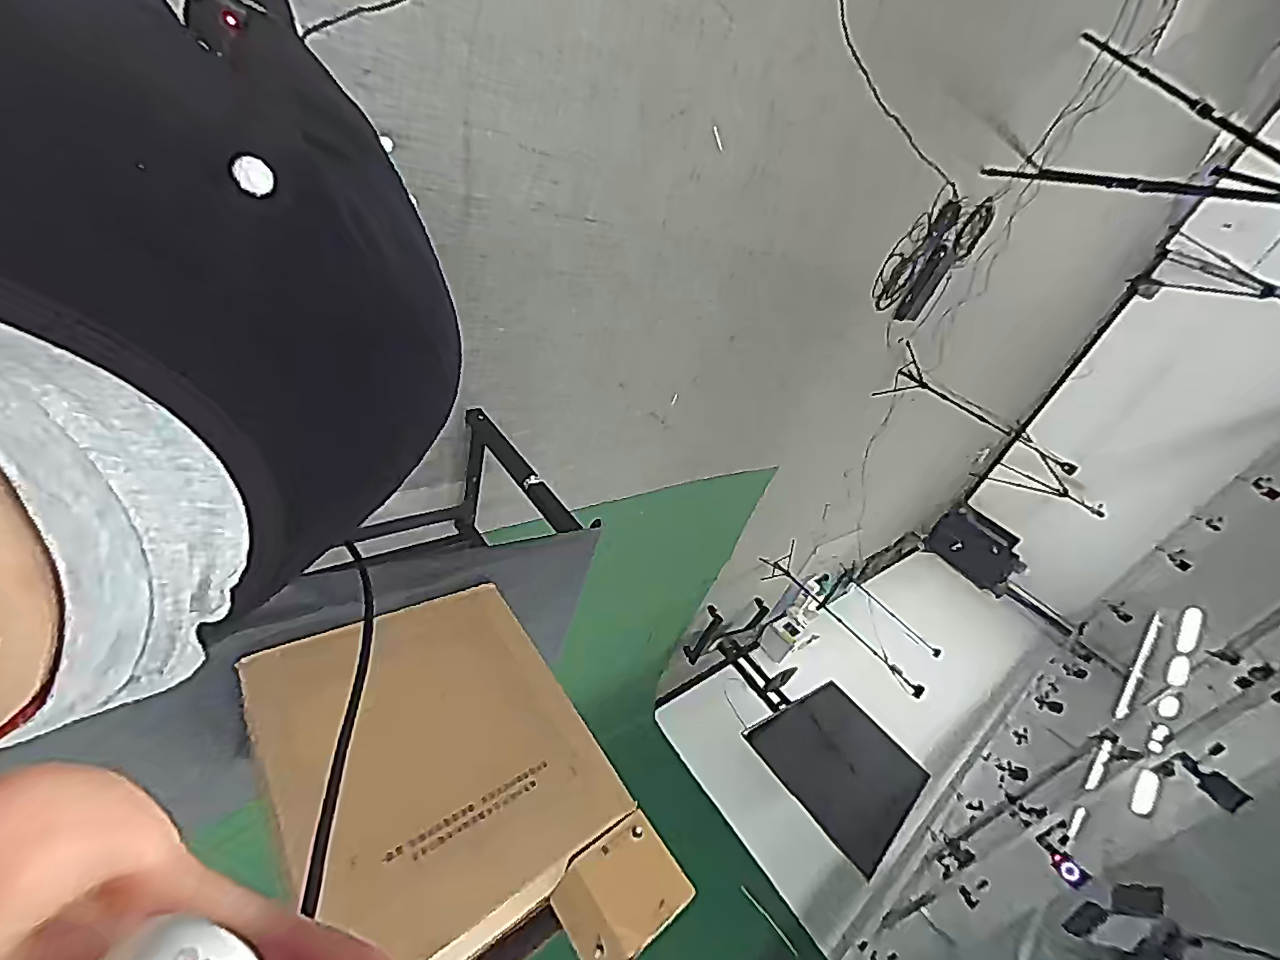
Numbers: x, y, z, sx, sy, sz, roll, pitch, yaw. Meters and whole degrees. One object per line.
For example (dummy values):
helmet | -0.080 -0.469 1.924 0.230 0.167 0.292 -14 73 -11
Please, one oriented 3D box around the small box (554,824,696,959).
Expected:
small box | -0.035 0.772 0.986 0.168 0.176 0.179 -11 135 -42
